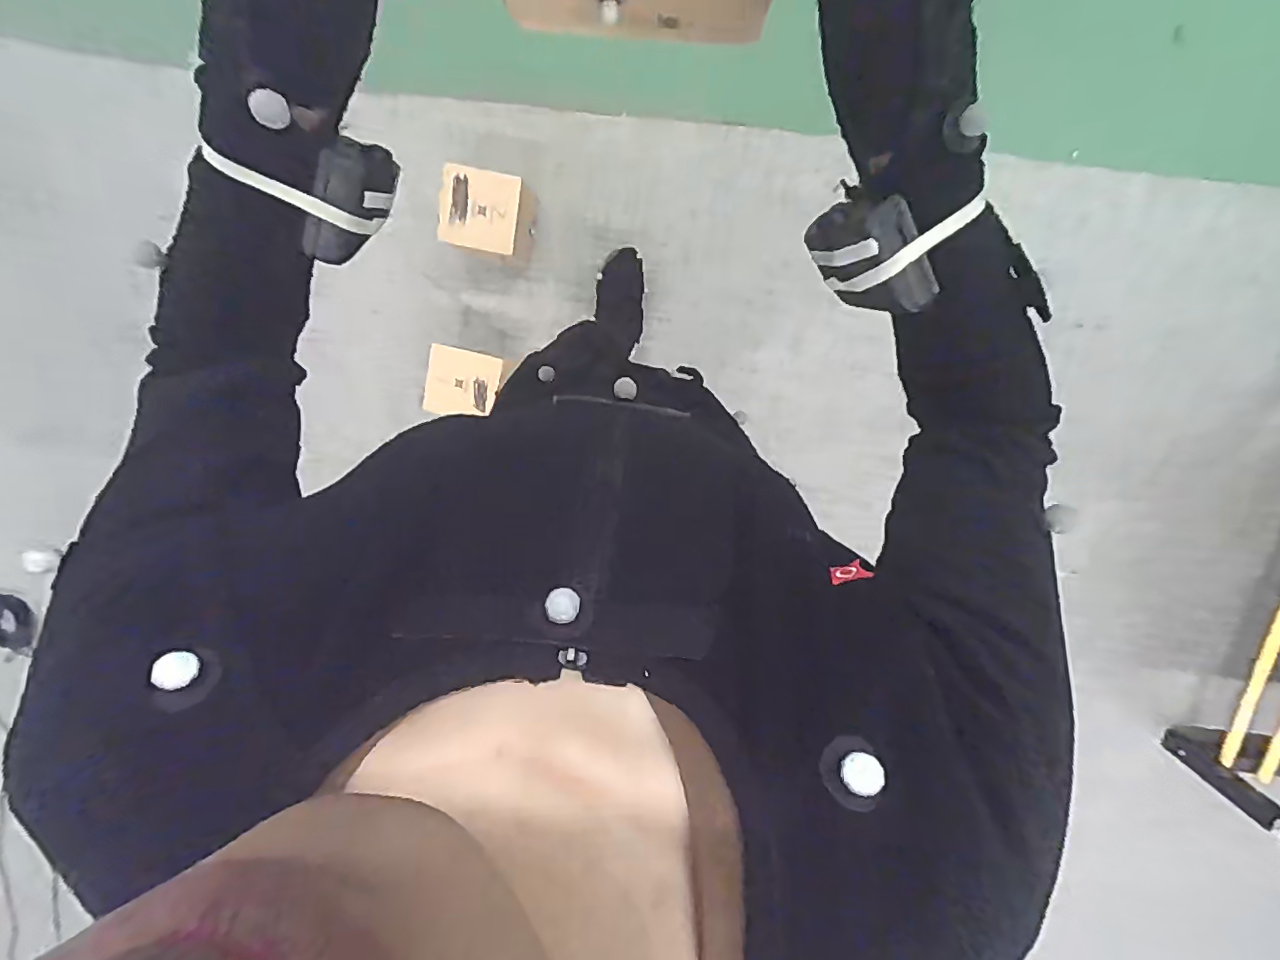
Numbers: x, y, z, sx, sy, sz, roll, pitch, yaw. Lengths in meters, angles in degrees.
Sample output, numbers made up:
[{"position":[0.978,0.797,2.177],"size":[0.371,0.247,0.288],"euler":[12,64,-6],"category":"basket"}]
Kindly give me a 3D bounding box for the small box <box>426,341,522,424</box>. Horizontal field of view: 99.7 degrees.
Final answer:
[{"position":[-0.409,-0.248,1.355],"size":[0.179,0.176,0.168],"euler":[14,104,1],"category":"small box"}]
